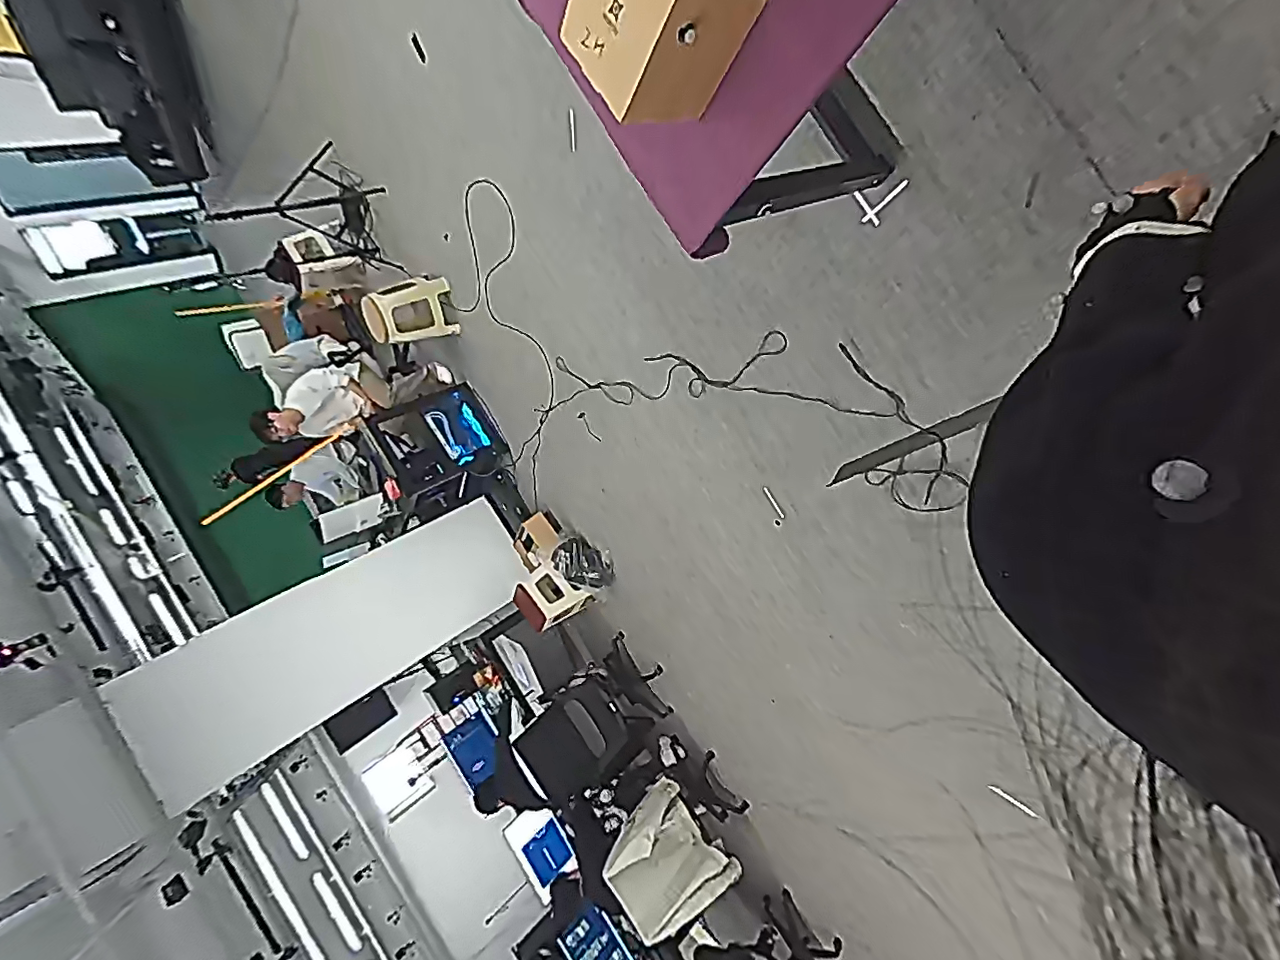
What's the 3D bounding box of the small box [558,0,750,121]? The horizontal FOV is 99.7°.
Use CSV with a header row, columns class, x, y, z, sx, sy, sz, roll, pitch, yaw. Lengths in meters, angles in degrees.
class,x,y,z,sx,sy,sz,roll,pitch,yaw
small box,0.022,-0.628,0.731,0.168,0.176,0.179,58,146,5
